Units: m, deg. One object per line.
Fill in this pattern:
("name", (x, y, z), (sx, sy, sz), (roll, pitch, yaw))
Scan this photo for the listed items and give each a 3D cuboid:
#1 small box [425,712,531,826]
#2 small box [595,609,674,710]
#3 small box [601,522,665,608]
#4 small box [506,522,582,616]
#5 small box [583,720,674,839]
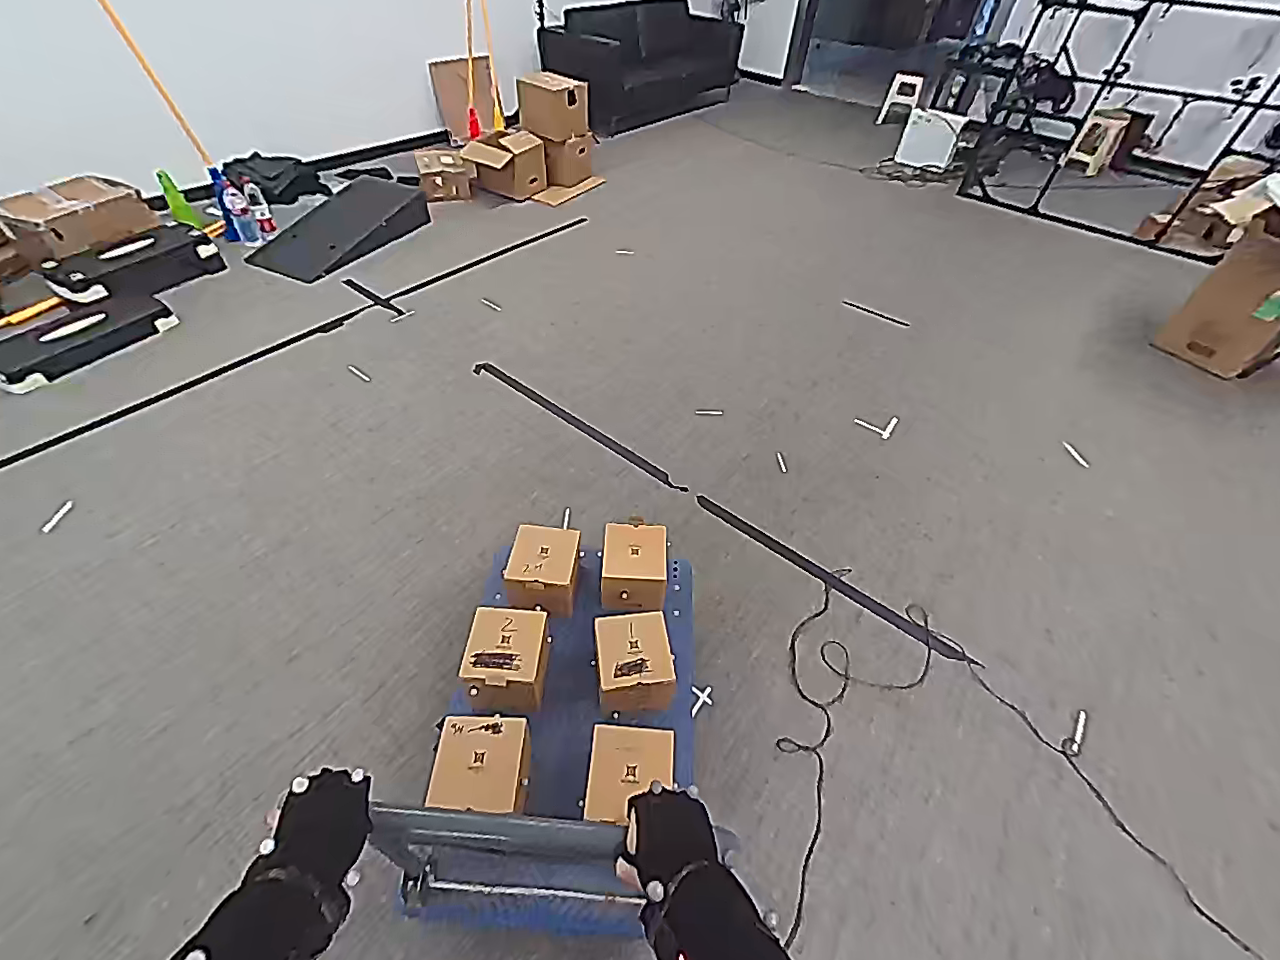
("small box", (-0.320, 0.597, 1.111), (0.168, 0.176, 0.179), (4, 47, -3))
("small box", (-0.020, 0.434, 1.294), (0.168, 0.176, 0.179), (-3, 46, -9))
("small box", (-0.019, 0.236, 1.482), (0.168, 0.176, 0.179), (3, 47, -2))
("small box", (-0.252, 0.240, 1.453), (0.168, 0.176, 0.179), (6, 48, 1))
("small box", (-0.022, 0.622, 1.117), (0.168, 0.176, 0.179), (6, 46, 0))
